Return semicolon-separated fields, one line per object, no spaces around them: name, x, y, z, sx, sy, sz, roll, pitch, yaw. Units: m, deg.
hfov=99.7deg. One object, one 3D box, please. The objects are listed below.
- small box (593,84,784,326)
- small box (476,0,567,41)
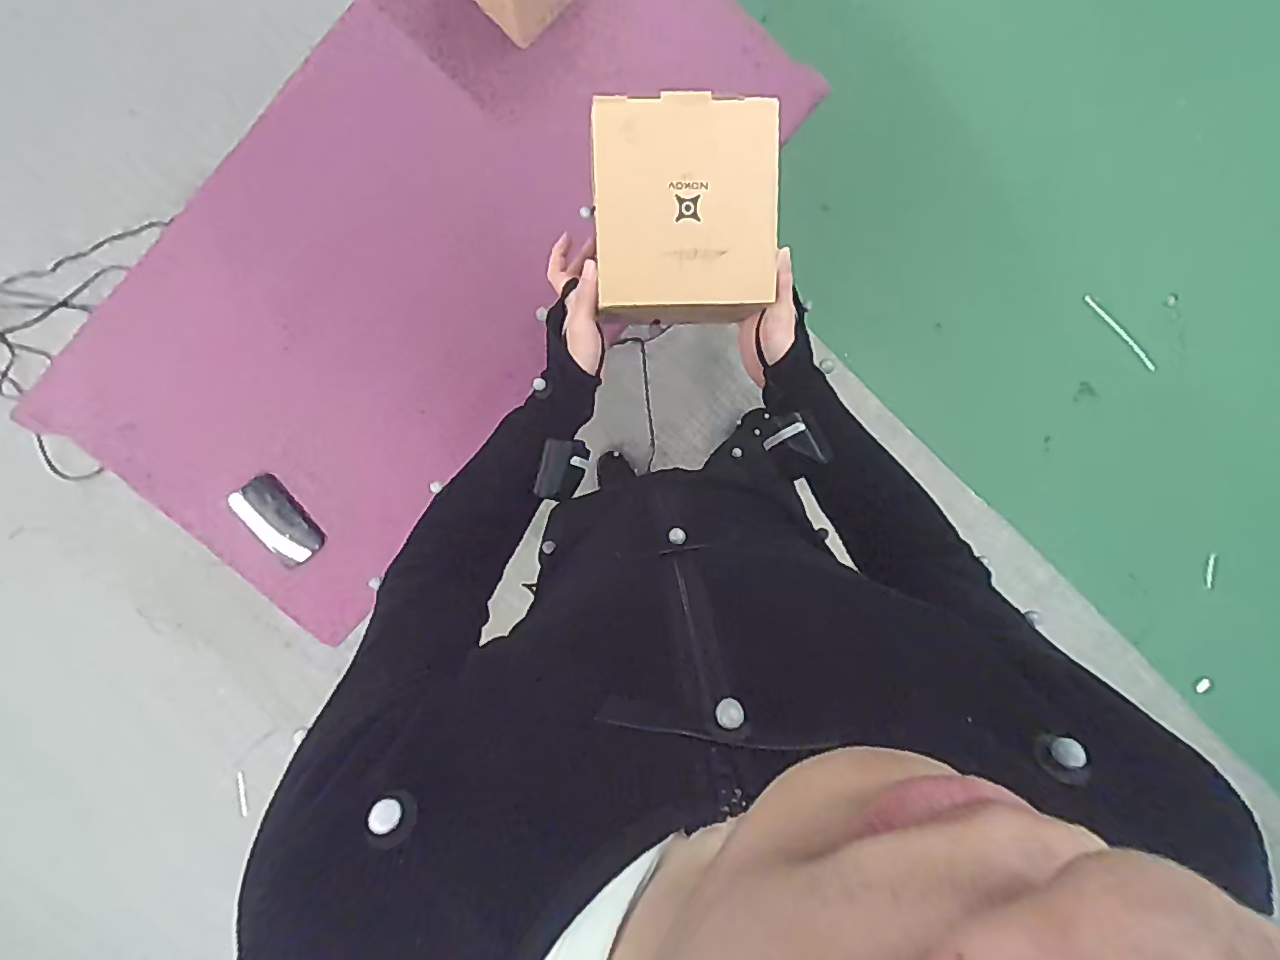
small box;0.036;-0.257;0.547;0.168;0.176;0.179;-1;100;-4
small box;-0.188;-0.776;0.746;0.179;0.176;0.168;44;92;-4
